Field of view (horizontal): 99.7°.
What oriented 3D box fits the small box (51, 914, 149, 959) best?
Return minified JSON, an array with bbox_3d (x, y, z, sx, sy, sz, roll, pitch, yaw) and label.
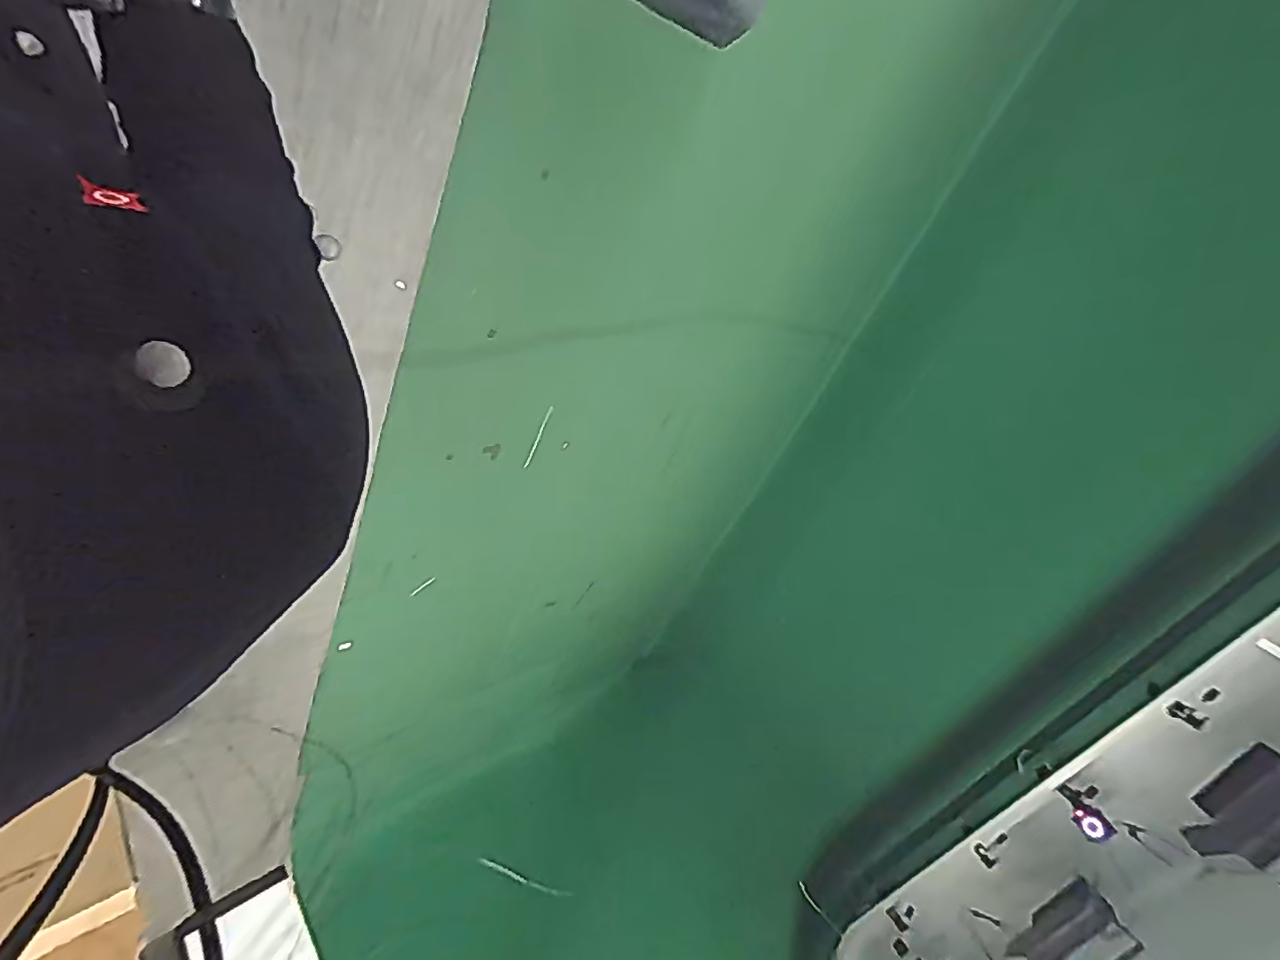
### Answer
[{"bbox_3d":[-1.269,1.185,1.262,0.179,0.176,0.168,-14,134,-49],"label":"small box"}]
